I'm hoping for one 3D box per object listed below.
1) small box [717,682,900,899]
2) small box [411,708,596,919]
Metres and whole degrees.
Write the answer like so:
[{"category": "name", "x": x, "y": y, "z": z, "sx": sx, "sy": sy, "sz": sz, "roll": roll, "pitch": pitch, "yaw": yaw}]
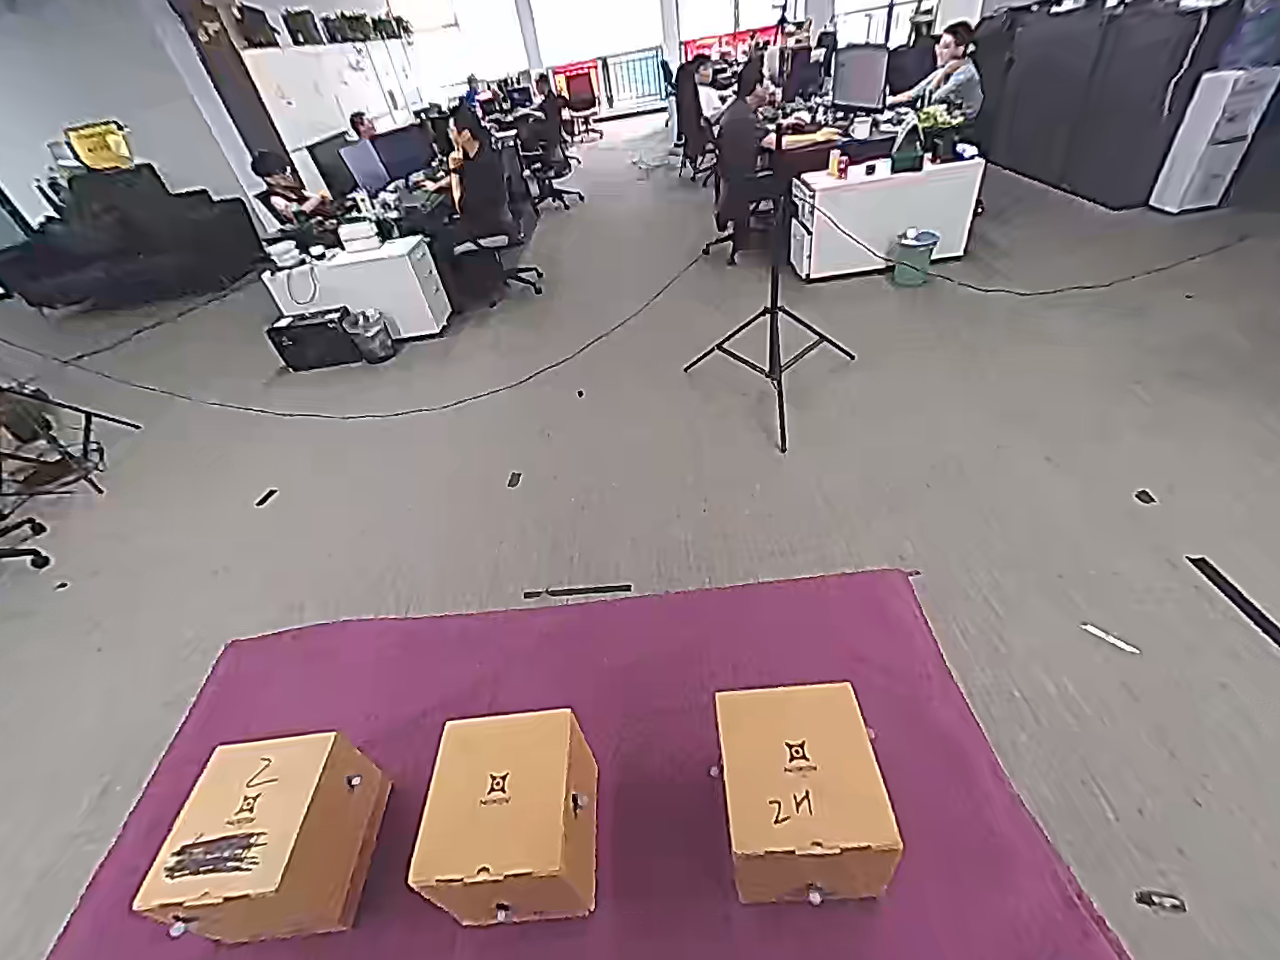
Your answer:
[{"category": "small box", "x": 0.184, "y": 0.368, "z": 0.644, "sx": 0.168, "sy": 0.176, "sz": 0.179, "roll": -7, "pitch": 39, "yaw": 6}, {"category": "small box", "x": -0.152, "y": 0.413, "z": 0.673, "sx": 0.168, "sy": 0.176, "sz": 0.179, "roll": -8, "pitch": 40, "yaw": 4}]
